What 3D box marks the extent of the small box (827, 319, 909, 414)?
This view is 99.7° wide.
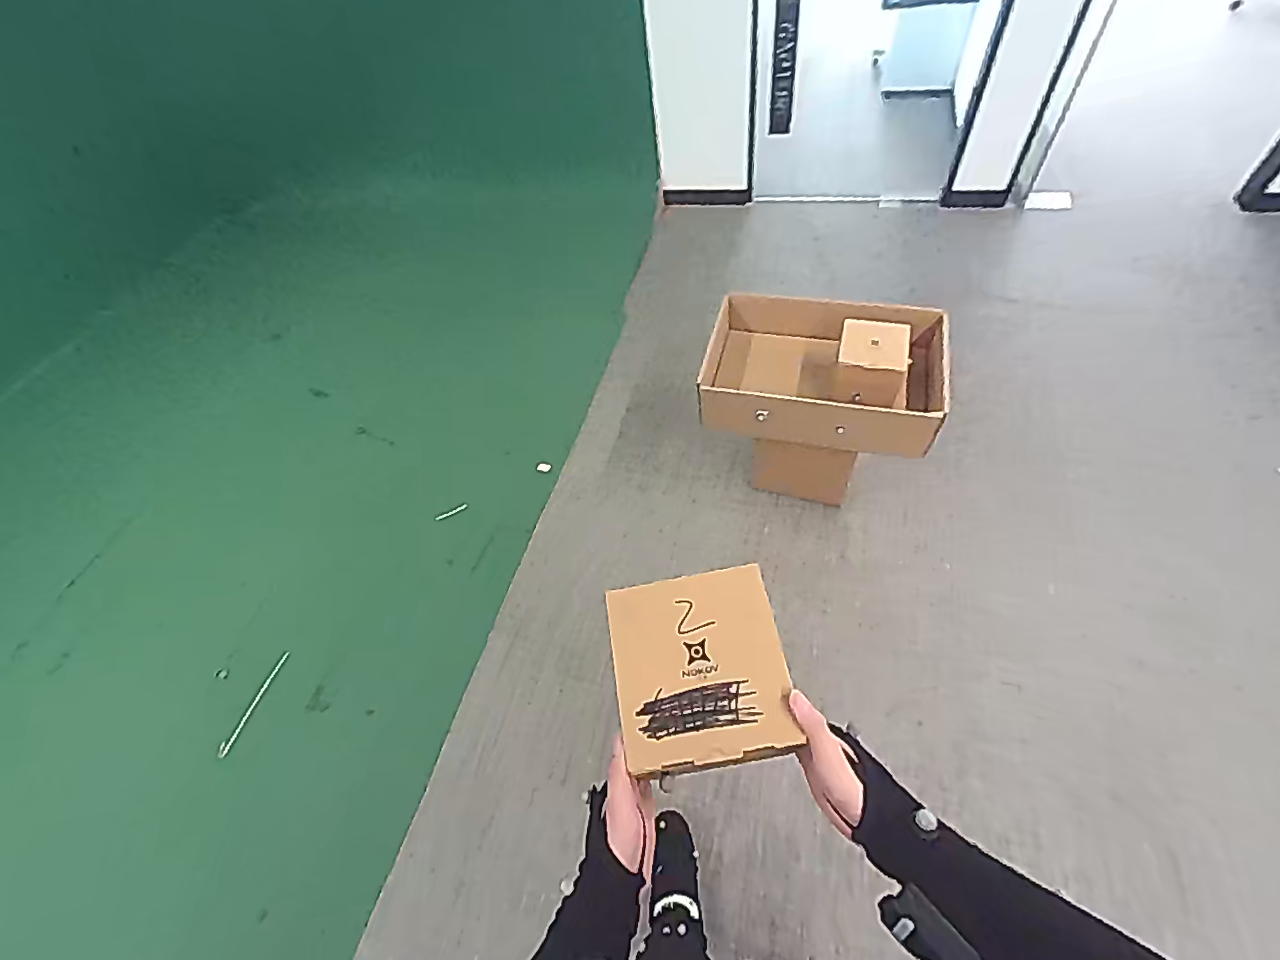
[{"bbox_3d":[0.614,-0.307,1.467,0.168,0.176,0.179,11,59,15],"label":"small box"}]
